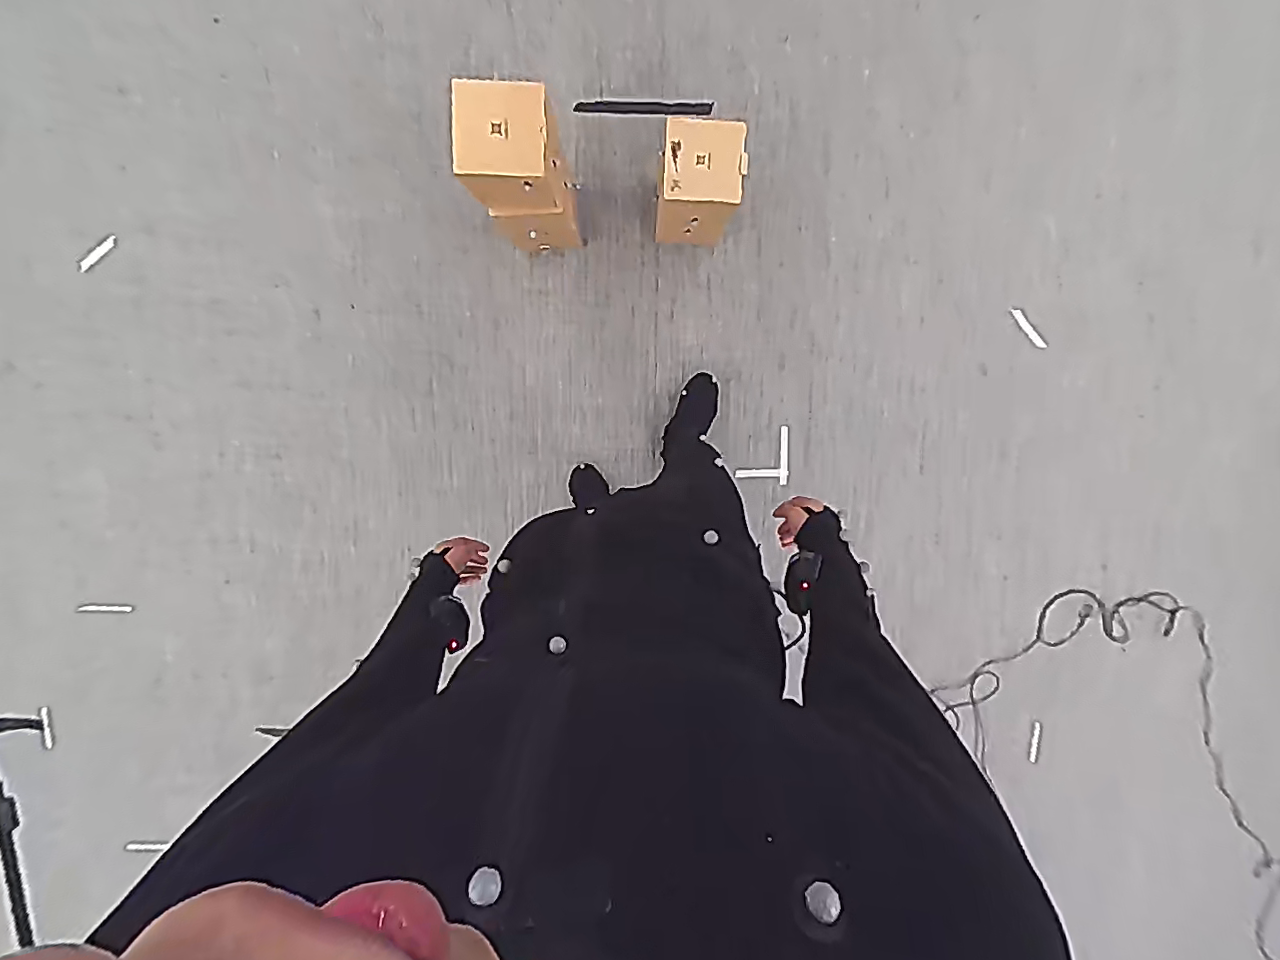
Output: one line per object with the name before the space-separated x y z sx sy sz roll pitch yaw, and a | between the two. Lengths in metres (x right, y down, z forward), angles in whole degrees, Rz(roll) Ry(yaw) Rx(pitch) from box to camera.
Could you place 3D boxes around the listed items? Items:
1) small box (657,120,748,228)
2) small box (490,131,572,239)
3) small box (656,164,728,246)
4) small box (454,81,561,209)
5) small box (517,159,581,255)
small box | 0.138 -0.698 1.254 0.179 0.176 0.168 3 98 -3
small box | -0.251 -0.675 1.249 0.168 0.176 0.179 -3 99 0
small box | 0.134 -0.722 1.416 0.179 0.176 0.168 2 99 -2
small box | -0.260 -0.662 1.086 0.179 0.176 0.168 2 98 -1
small box | -0.247 -0.705 1.410 0.168 0.176 0.179 -5 99 0
